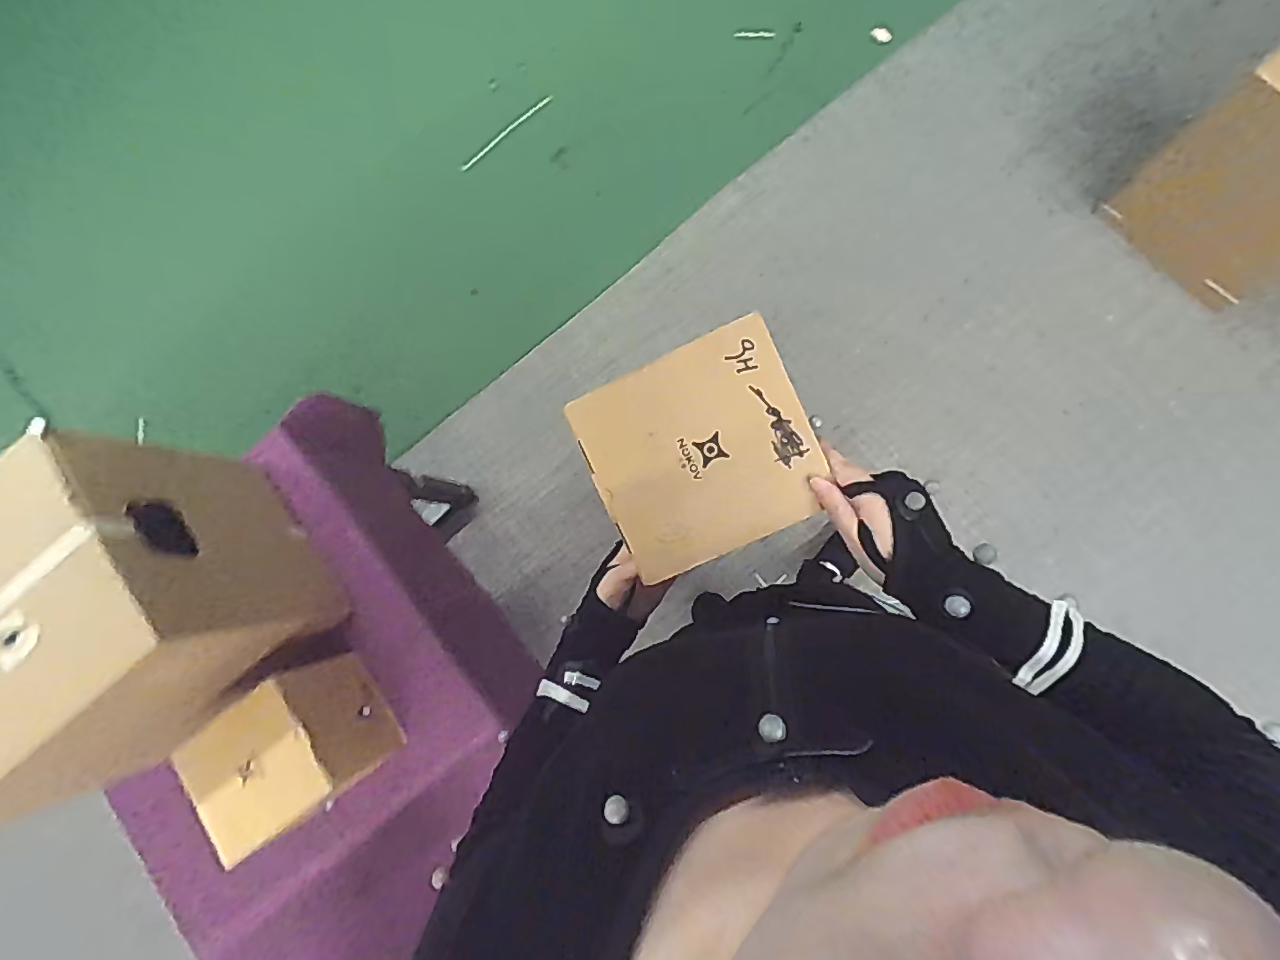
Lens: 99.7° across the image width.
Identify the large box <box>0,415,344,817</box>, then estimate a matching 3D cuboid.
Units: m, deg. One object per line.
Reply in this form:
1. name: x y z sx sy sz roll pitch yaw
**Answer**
1. large box: -0.727 0.186 0.743 0.408 0.320 0.320 -39 80 0
